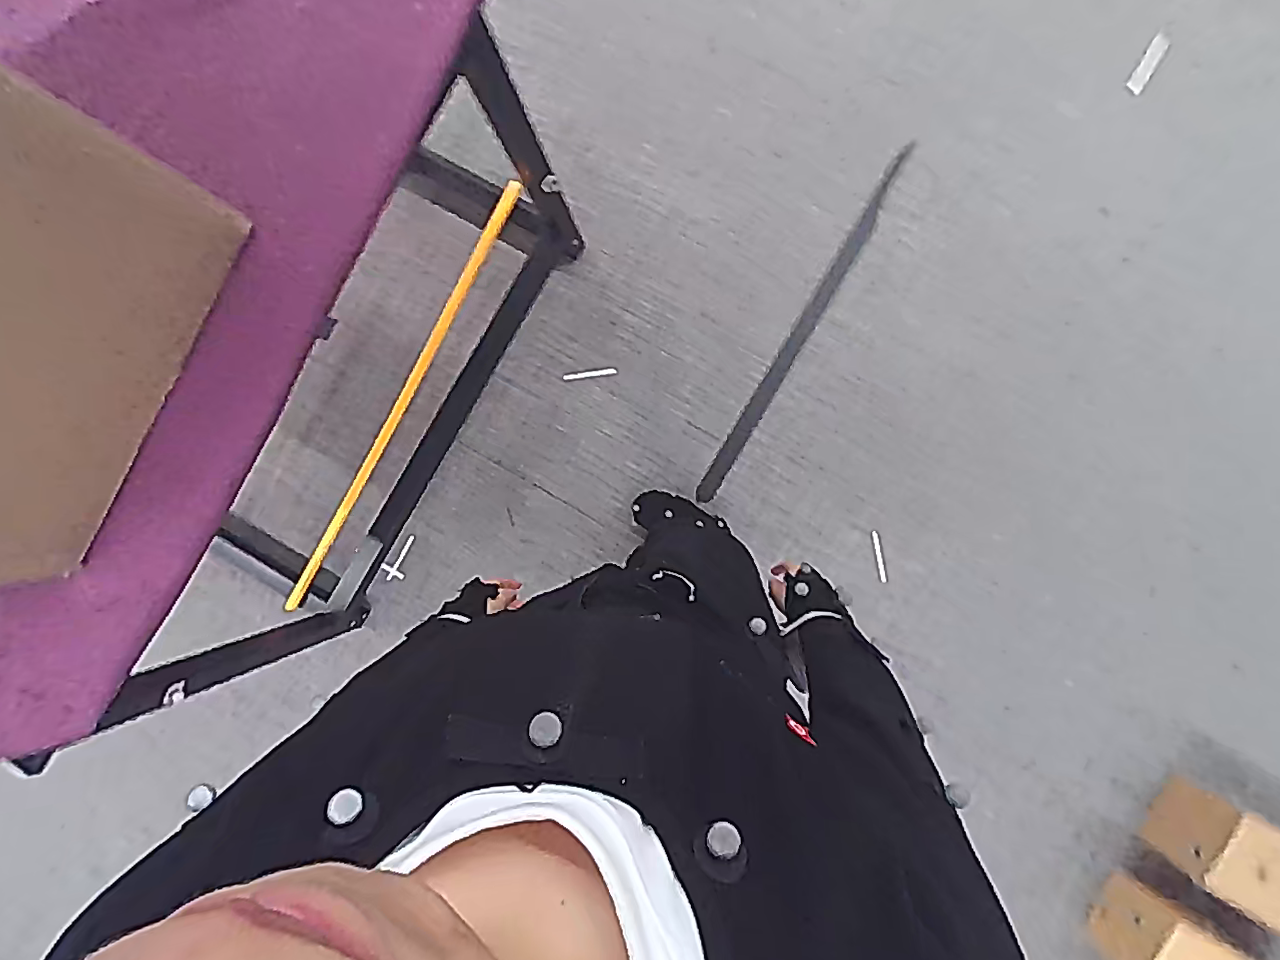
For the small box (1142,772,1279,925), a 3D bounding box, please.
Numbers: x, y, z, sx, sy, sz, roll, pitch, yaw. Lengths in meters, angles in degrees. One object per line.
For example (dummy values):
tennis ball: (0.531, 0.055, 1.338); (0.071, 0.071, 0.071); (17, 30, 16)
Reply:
small box: (1.256, 0.784, 1.169); (0.168, 0.176, 0.179); (30, 91, 5)
